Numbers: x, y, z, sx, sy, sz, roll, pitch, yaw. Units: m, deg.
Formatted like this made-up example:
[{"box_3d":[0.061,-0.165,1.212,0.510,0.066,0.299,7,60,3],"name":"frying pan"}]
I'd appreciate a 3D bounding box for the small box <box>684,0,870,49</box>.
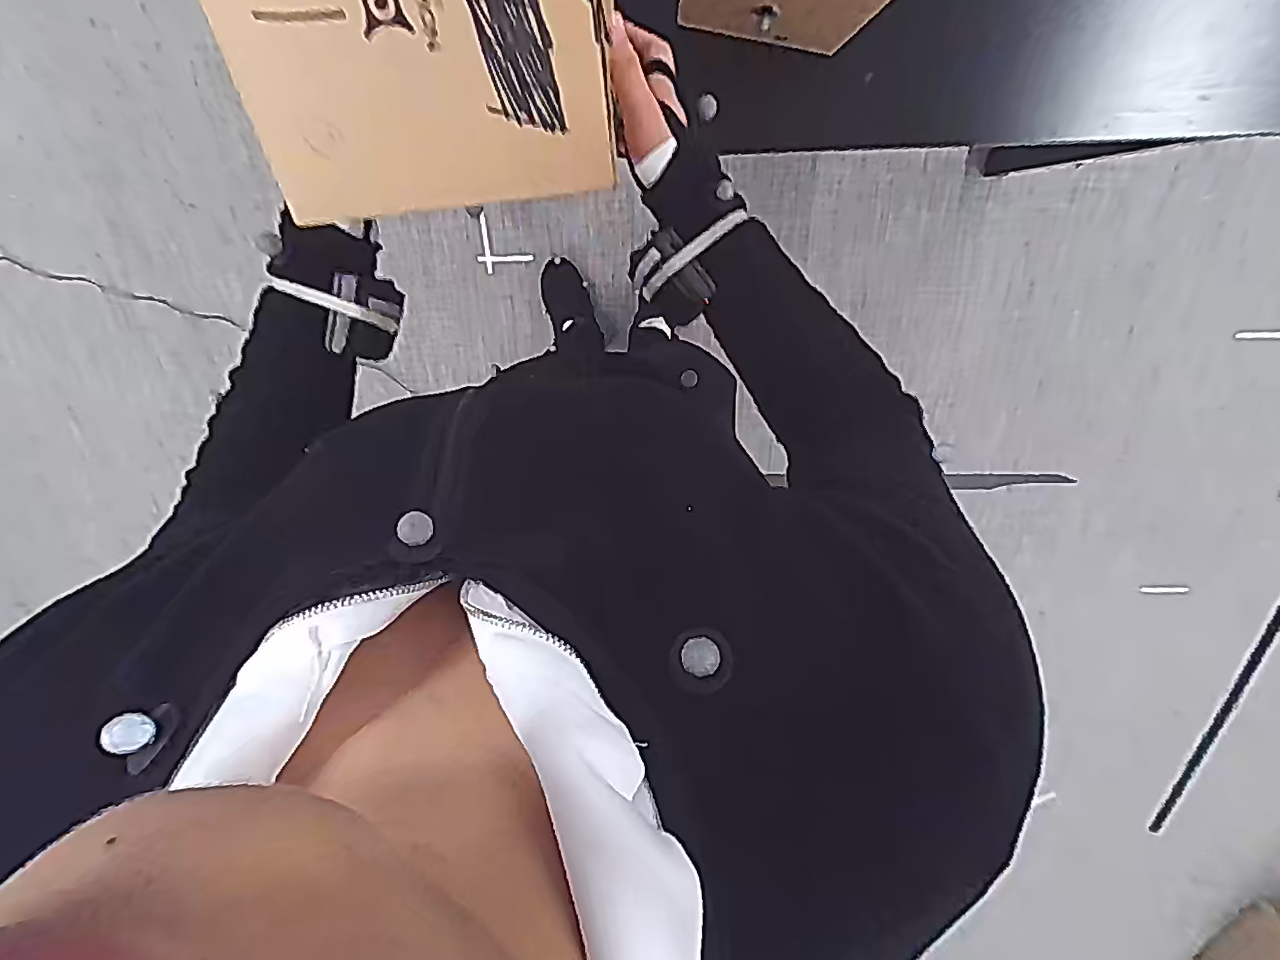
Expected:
[{"box_3d":[0.132,-0.500,0.452,0.168,0.176,0.179,8,113,-4],"name":"small box"}]
